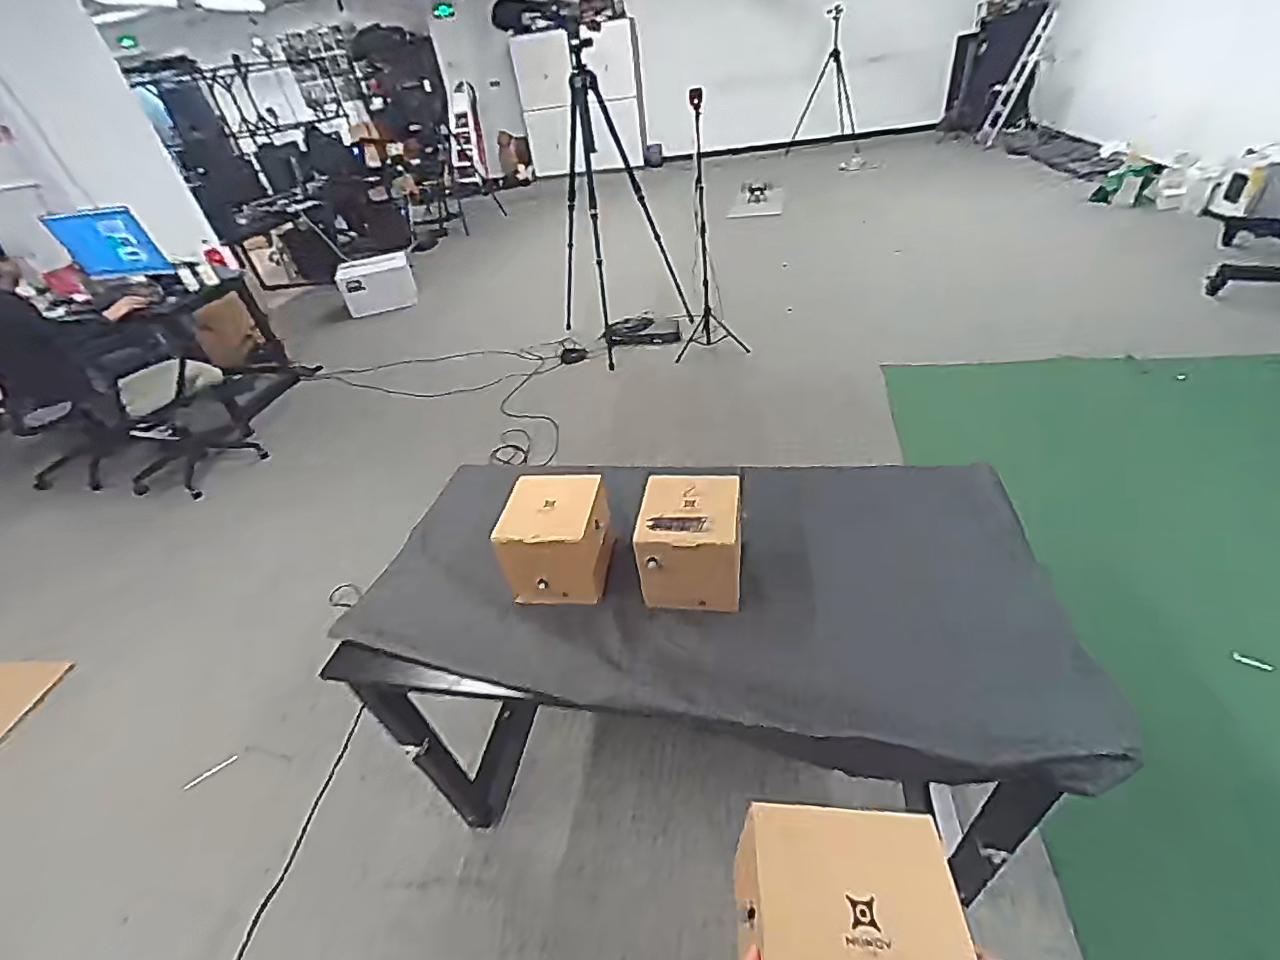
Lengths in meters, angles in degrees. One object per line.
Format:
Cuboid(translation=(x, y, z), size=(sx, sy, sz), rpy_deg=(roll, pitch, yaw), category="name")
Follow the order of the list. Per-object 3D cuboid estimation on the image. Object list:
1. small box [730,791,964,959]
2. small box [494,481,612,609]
Cuboid(translation=(0.174, 0.419, 0.496), size=(0.168, 0.176, 0.179), rpy_deg=(2, 39, 4), category="small box")
Cuboid(translation=(-0.153, 0.120, 1.027), size=(0.168, 0.176, 0.179), rpy_deg=(-1, 39, 10), category="small box")
